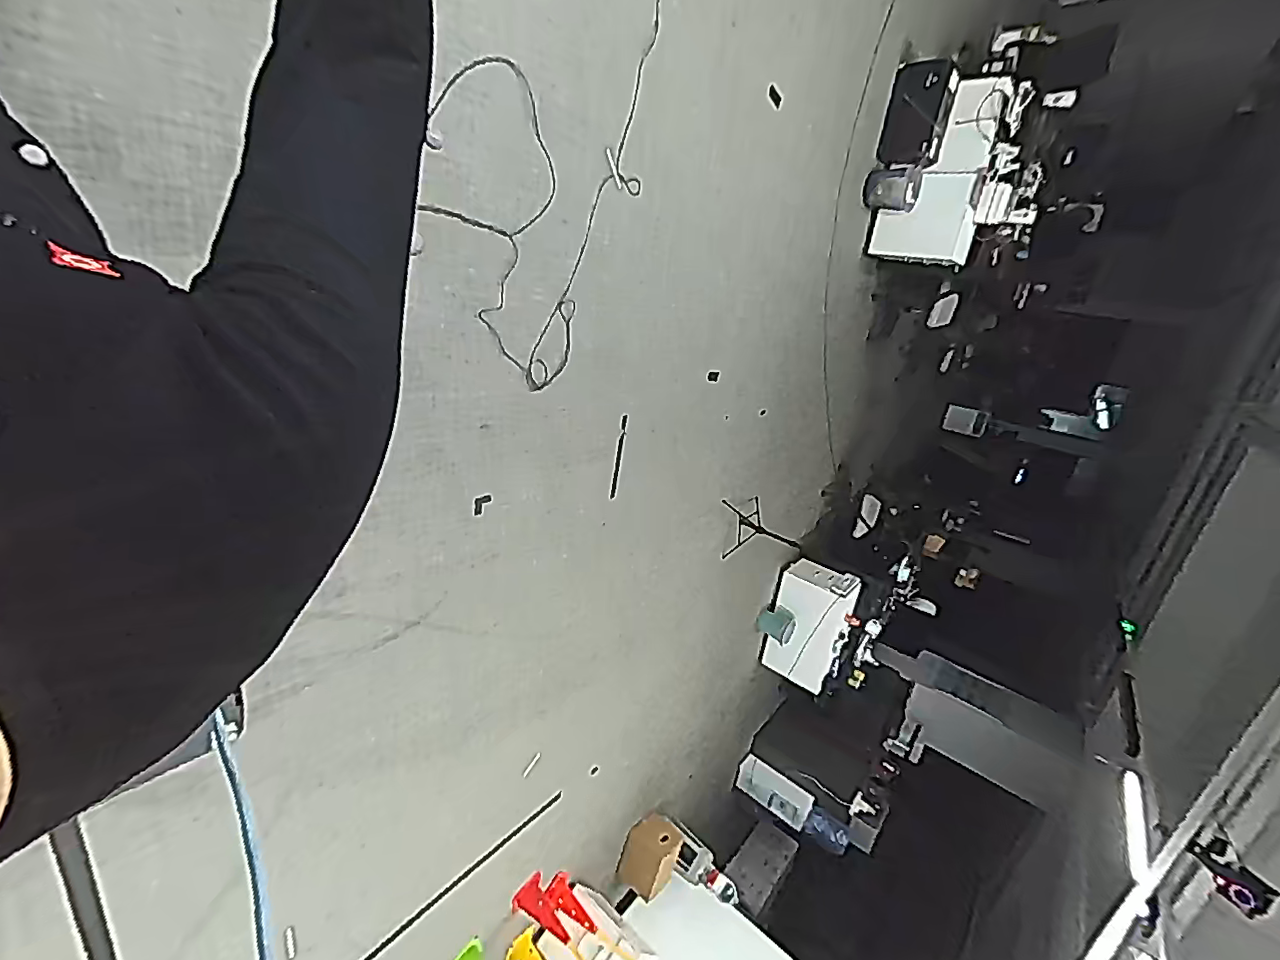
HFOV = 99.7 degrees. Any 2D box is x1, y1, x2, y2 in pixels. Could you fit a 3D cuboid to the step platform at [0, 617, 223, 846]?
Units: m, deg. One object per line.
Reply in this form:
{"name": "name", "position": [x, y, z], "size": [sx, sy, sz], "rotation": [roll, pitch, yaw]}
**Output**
{"name": "step platform", "position": [-1.266, 0.551, 1.081], "size": [0.684, 0.204, 0.286], "rotation": [-18, 123, -47]}
